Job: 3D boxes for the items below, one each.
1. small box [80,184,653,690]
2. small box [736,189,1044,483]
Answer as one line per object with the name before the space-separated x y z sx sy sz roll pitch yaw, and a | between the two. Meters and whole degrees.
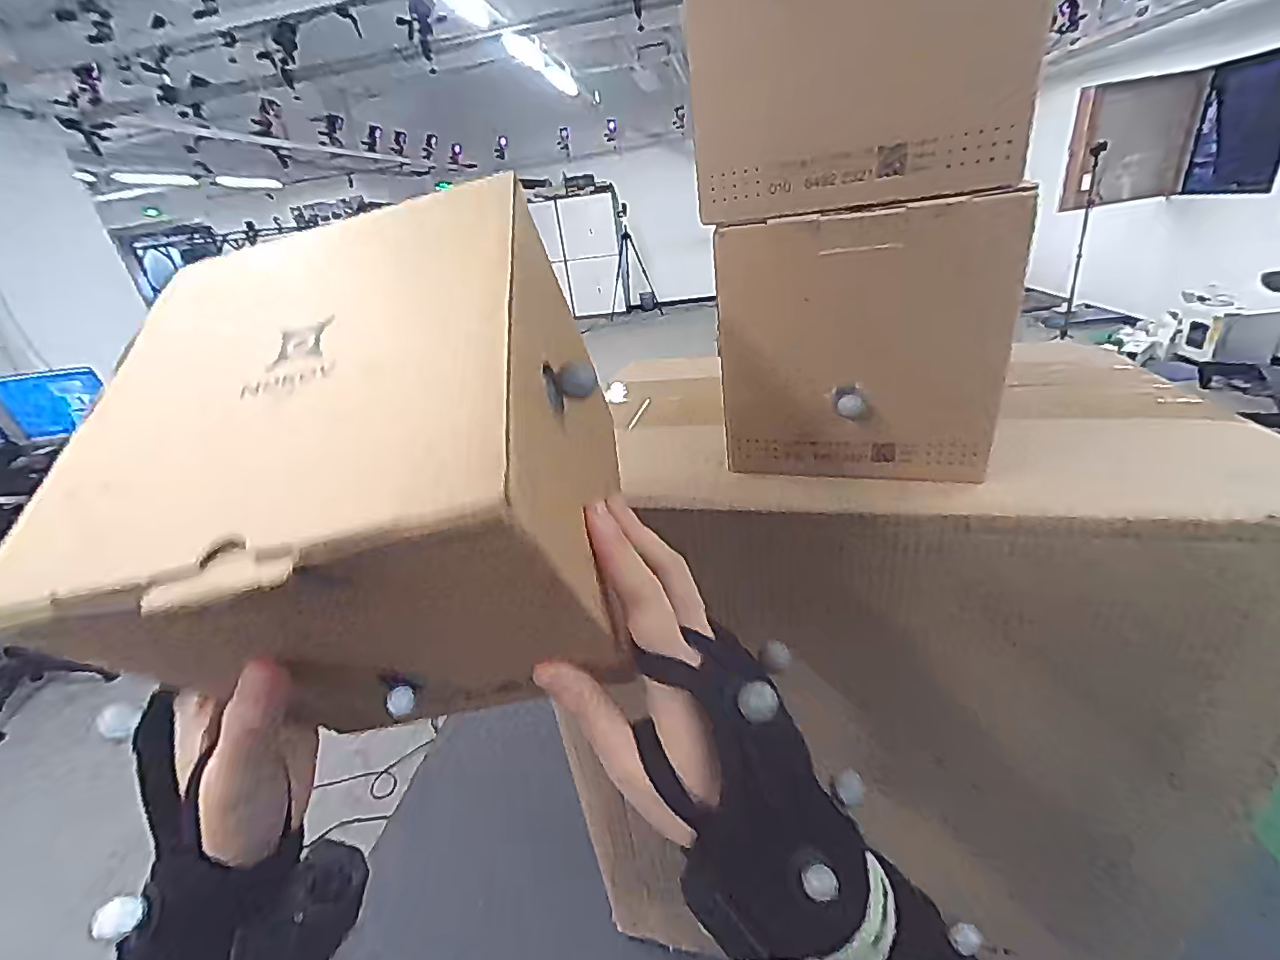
small box | -0.093 -0.011 0.277 0.168 0.176 0.179 -11 55 5
small box | 0.171 -0.116 0.413 0.168 0.176 0.179 4 31 21
